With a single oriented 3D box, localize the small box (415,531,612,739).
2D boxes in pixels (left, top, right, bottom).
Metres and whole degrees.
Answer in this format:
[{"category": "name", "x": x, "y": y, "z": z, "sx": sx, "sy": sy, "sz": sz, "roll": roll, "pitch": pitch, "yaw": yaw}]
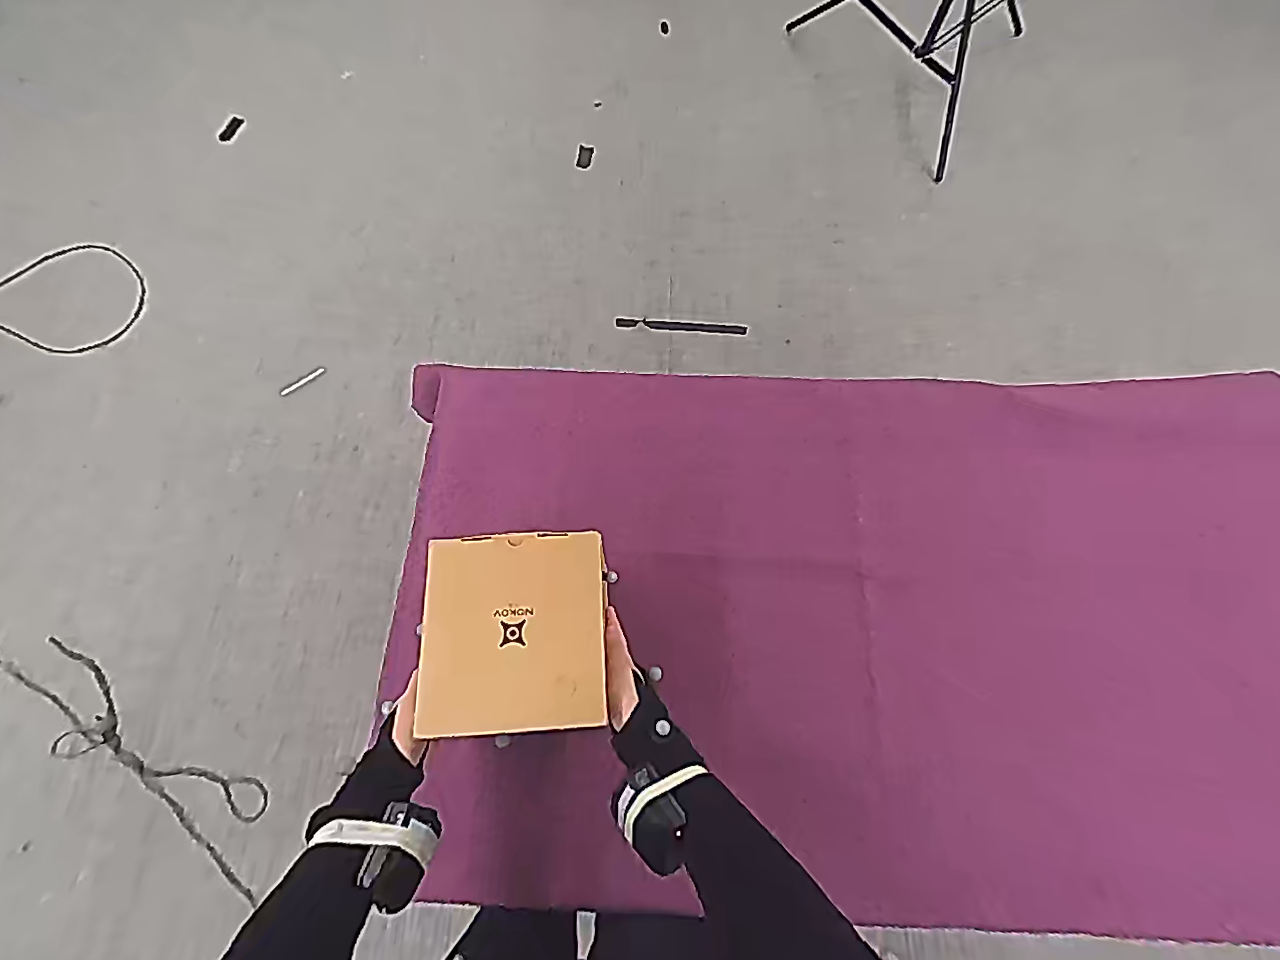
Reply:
[{"category": "small box", "x": -0.117, "y": 0.164, "z": 0.564, "sx": 0.168, "sy": 0.176, "sz": 0.179, "roll": -3, "pitch": 67, "yaw": -3}]
